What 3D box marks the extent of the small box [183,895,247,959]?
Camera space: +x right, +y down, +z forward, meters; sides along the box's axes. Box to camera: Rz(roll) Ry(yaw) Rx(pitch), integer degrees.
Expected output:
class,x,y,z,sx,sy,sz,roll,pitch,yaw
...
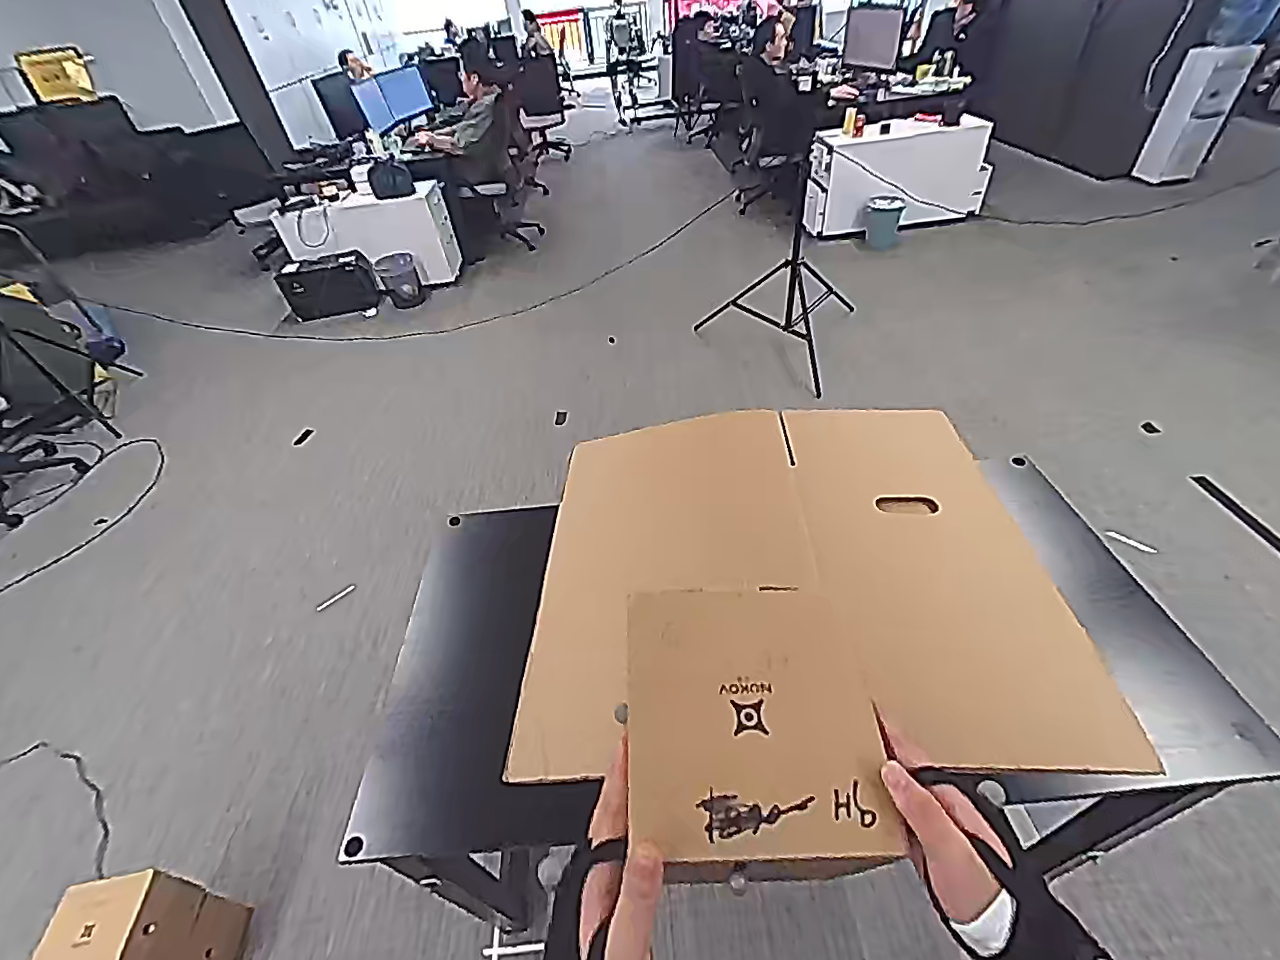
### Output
class,x,y,z,sx,sy,sz,roll,pitch,yaw
small box,-0.988,1.021,1.153,0.168,0.176,0.179,-9,43,-1

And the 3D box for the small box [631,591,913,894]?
class,x,y,z,sx,sy,sz,roll,pitch,yaw
small box,0.077,0.207,0.427,0.168,0.176,0.179,-3,49,1

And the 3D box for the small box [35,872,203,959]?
class,x,y,z,sx,sy,sz,roll,pitch,yaw
small box,-1.006,0.898,1.047,0.168,0.176,0.179,-10,42,-4
